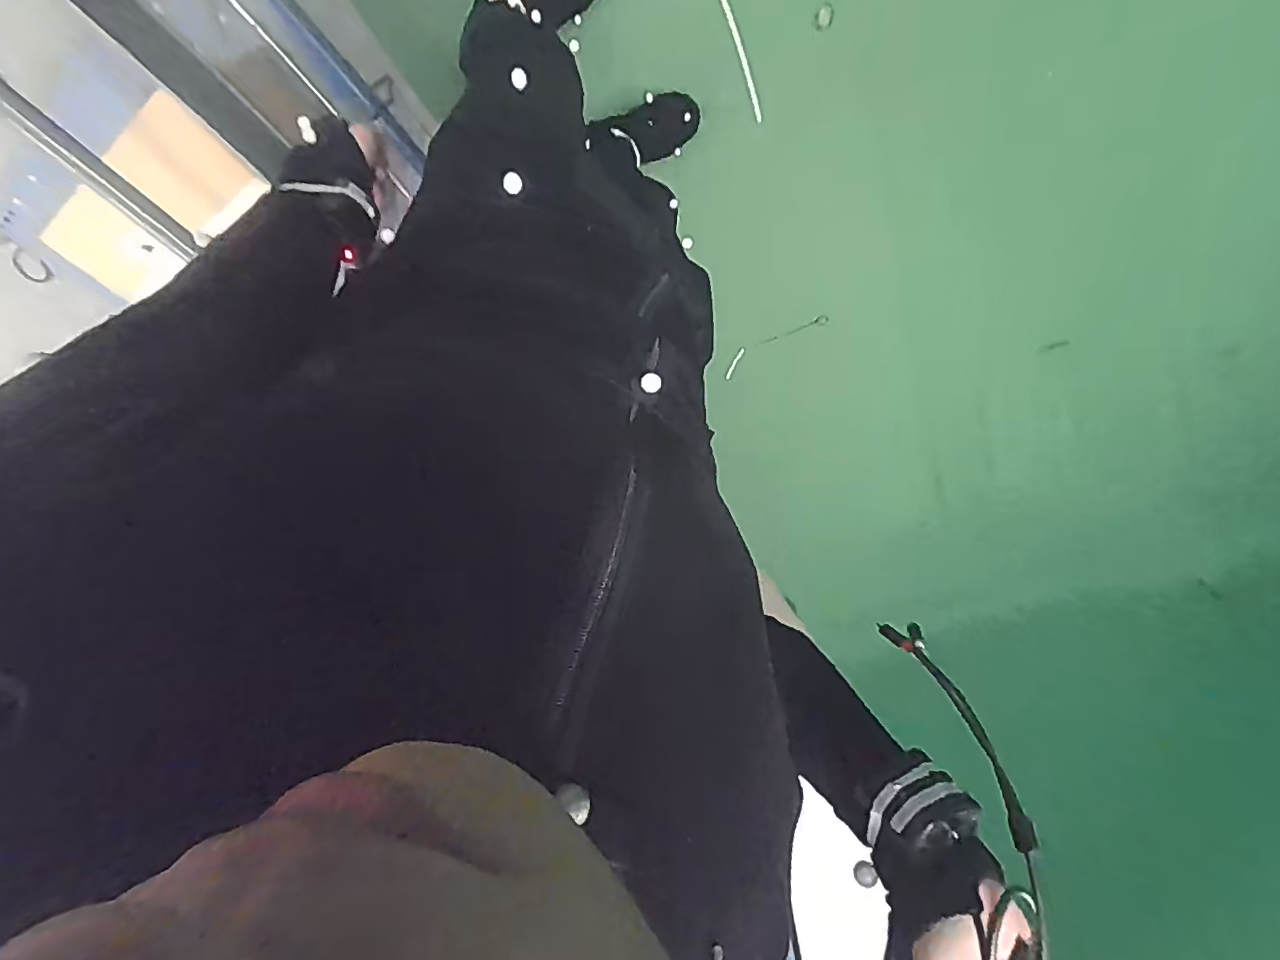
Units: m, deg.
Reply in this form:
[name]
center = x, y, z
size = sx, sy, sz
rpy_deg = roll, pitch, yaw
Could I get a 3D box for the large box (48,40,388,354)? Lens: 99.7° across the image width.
[large box]
center = -0.775, -0.530, 1.045
size = 0.408, 0.320, 0.320
rpy_deg = -24, 133, 22
